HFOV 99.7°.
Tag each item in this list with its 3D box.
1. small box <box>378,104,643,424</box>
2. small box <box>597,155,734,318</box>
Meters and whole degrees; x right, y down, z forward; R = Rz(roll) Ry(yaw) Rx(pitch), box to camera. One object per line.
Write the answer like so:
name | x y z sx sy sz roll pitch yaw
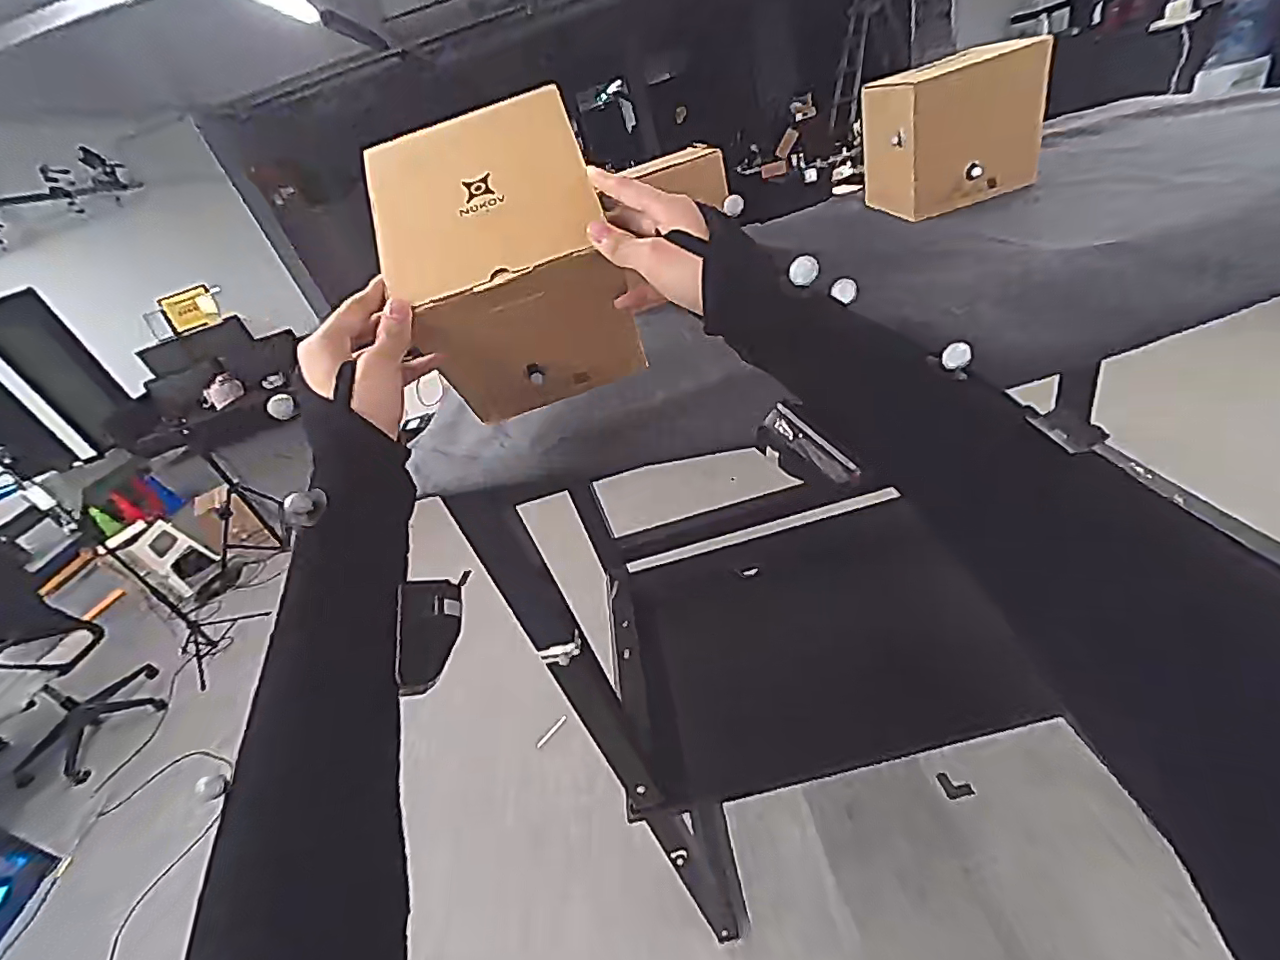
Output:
small box | -0.104 -0.179 0.483 0.168 0.176 0.179 -19 68 0
small box | 0.033 -0.362 0.803 0.179 0.176 0.168 -18 33 0
